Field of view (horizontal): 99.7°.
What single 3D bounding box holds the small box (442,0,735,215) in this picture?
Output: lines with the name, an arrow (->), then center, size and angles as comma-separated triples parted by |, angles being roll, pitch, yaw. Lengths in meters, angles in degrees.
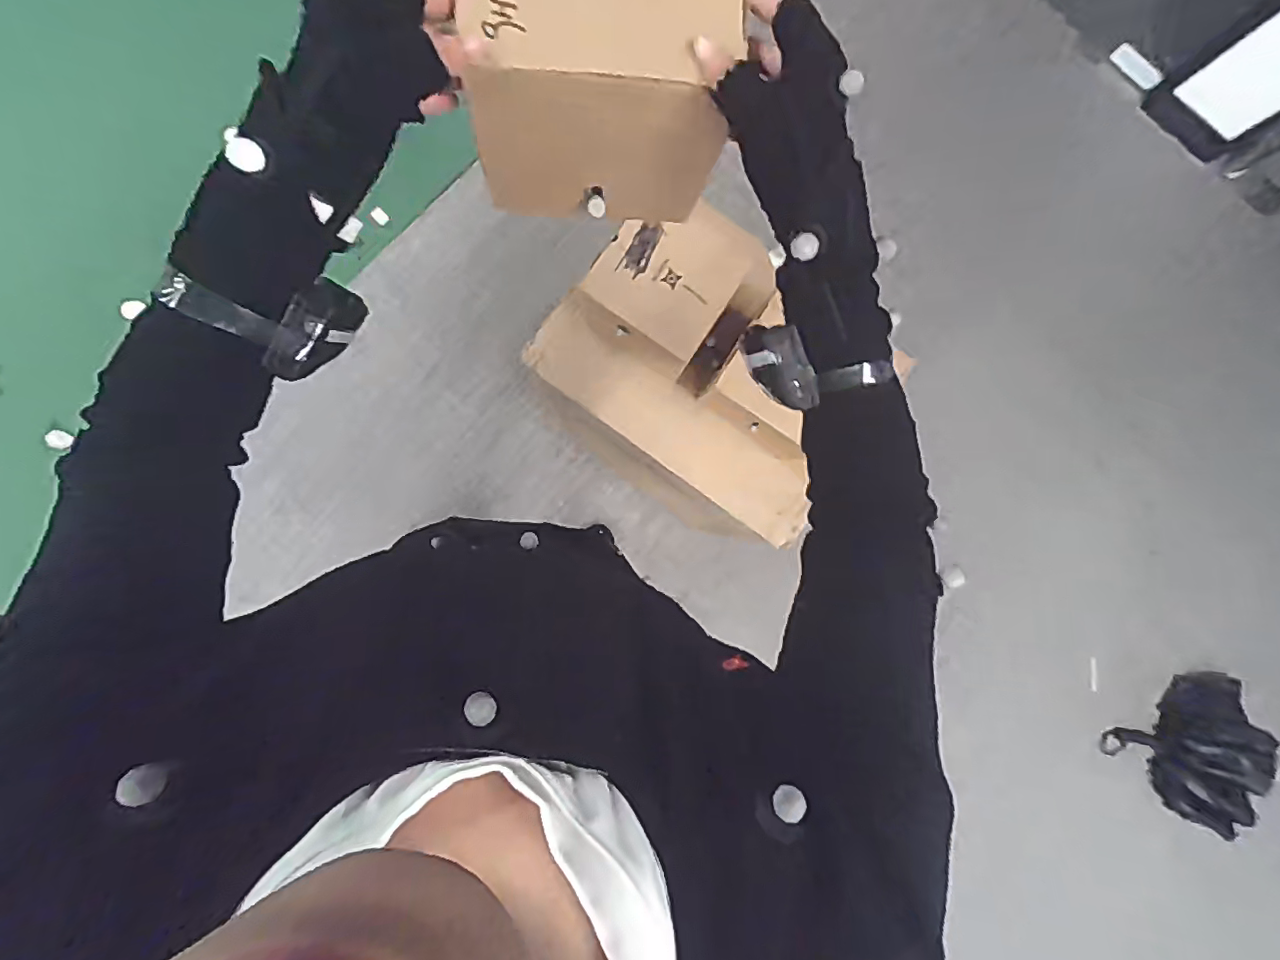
small box -> -0.042, -0.319, 0.400 | 0.179, 0.176, 0.168 | -1, 88, -9

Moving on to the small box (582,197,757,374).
small box -> 0.036, -0.274, 0.788 | 0.179, 0.176, 0.168 | 35, 90, -3
